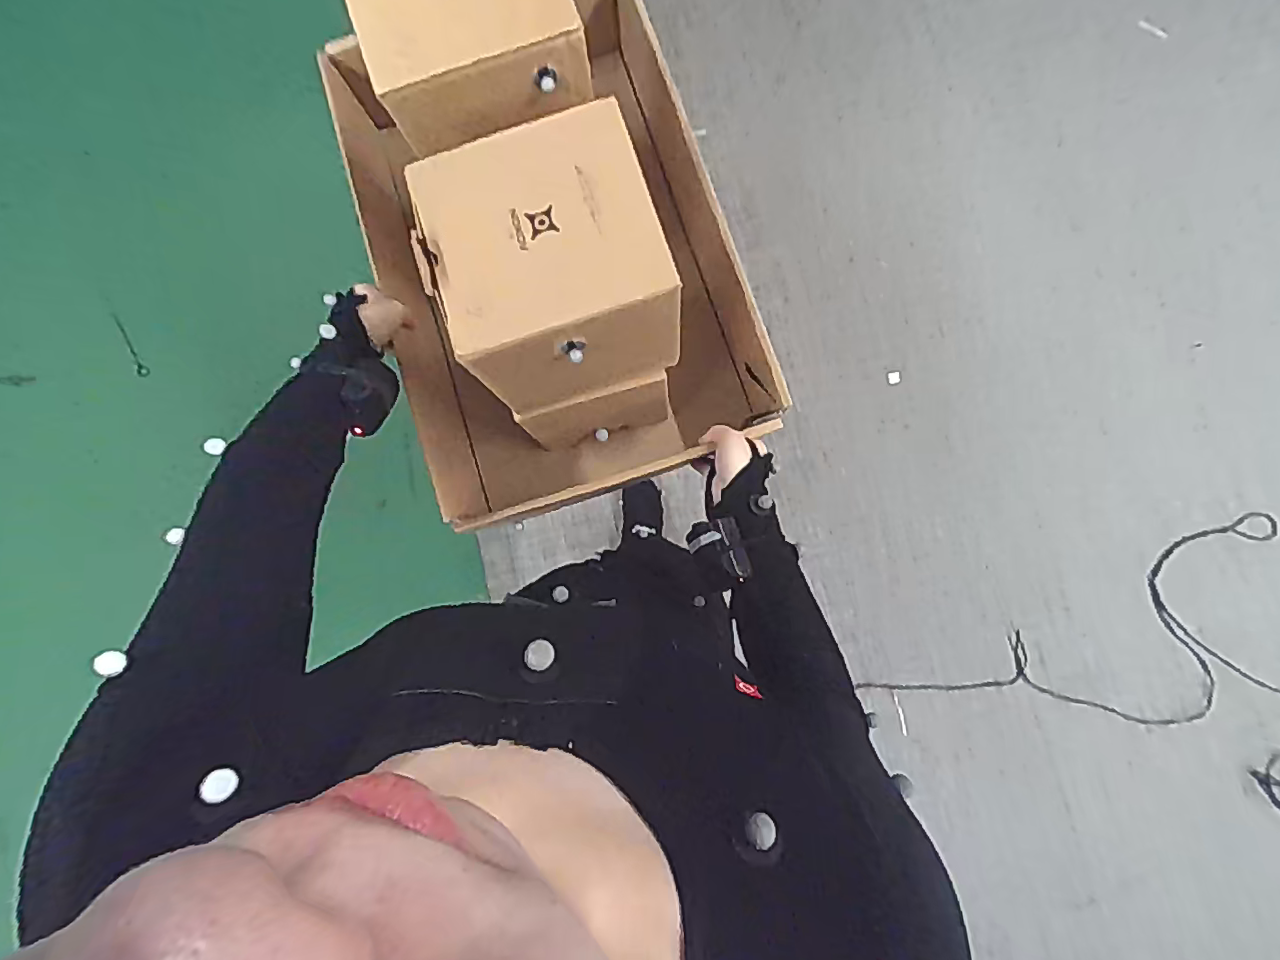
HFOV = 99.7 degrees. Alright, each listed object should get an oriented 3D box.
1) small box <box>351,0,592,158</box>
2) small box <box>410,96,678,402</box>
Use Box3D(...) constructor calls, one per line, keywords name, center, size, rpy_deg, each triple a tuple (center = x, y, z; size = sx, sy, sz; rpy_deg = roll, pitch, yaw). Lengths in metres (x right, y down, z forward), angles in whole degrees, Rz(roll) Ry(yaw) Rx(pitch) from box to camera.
Box3D(name="small box", center=(-0.150, -0.403, 0.520), size=(0.179, 0.176, 0.168), rpy_deg=(-19, 84, -1))
Box3D(name="small box", center=(-0.071, -0.187, 0.490), size=(0.179, 0.176, 0.168), rpy_deg=(-18, 82, 0))
